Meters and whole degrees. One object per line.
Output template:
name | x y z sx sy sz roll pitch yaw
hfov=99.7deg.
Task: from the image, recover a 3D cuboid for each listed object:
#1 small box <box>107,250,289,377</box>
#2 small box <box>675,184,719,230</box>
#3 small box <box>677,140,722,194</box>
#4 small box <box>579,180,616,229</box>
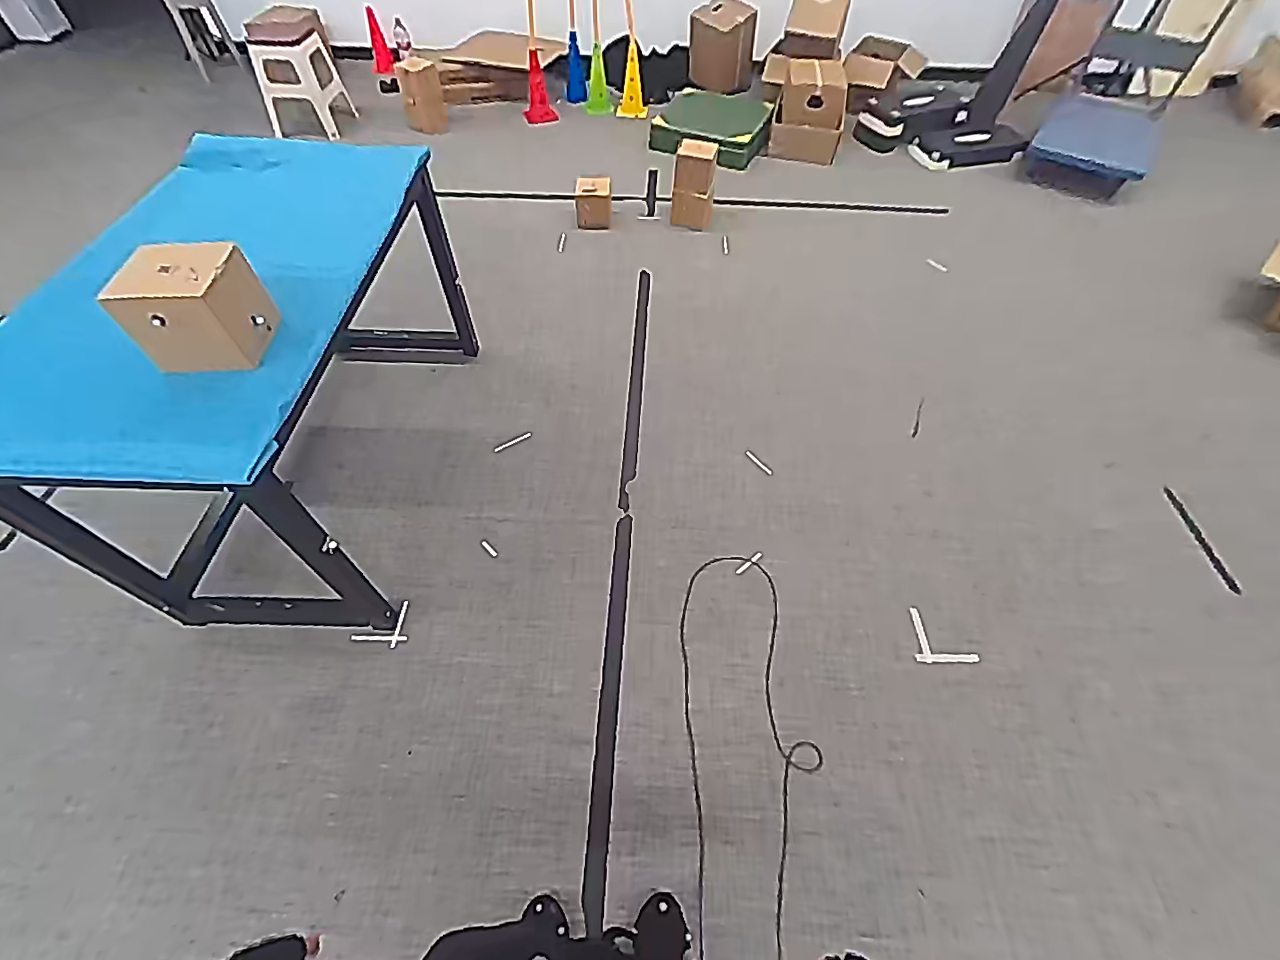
small box | -0.822 -0.313 1.030 0.179 0.176 0.168 1 55 -2
small box | 0.283 -1.389 2.729 0.179 0.176 0.168 16 55 9
small box | 0.285 -1.509 2.613 0.179 0.176 0.168 14 55 8
small box | -0.210 -1.381 2.712 0.168 0.176 0.179 1 53 0
